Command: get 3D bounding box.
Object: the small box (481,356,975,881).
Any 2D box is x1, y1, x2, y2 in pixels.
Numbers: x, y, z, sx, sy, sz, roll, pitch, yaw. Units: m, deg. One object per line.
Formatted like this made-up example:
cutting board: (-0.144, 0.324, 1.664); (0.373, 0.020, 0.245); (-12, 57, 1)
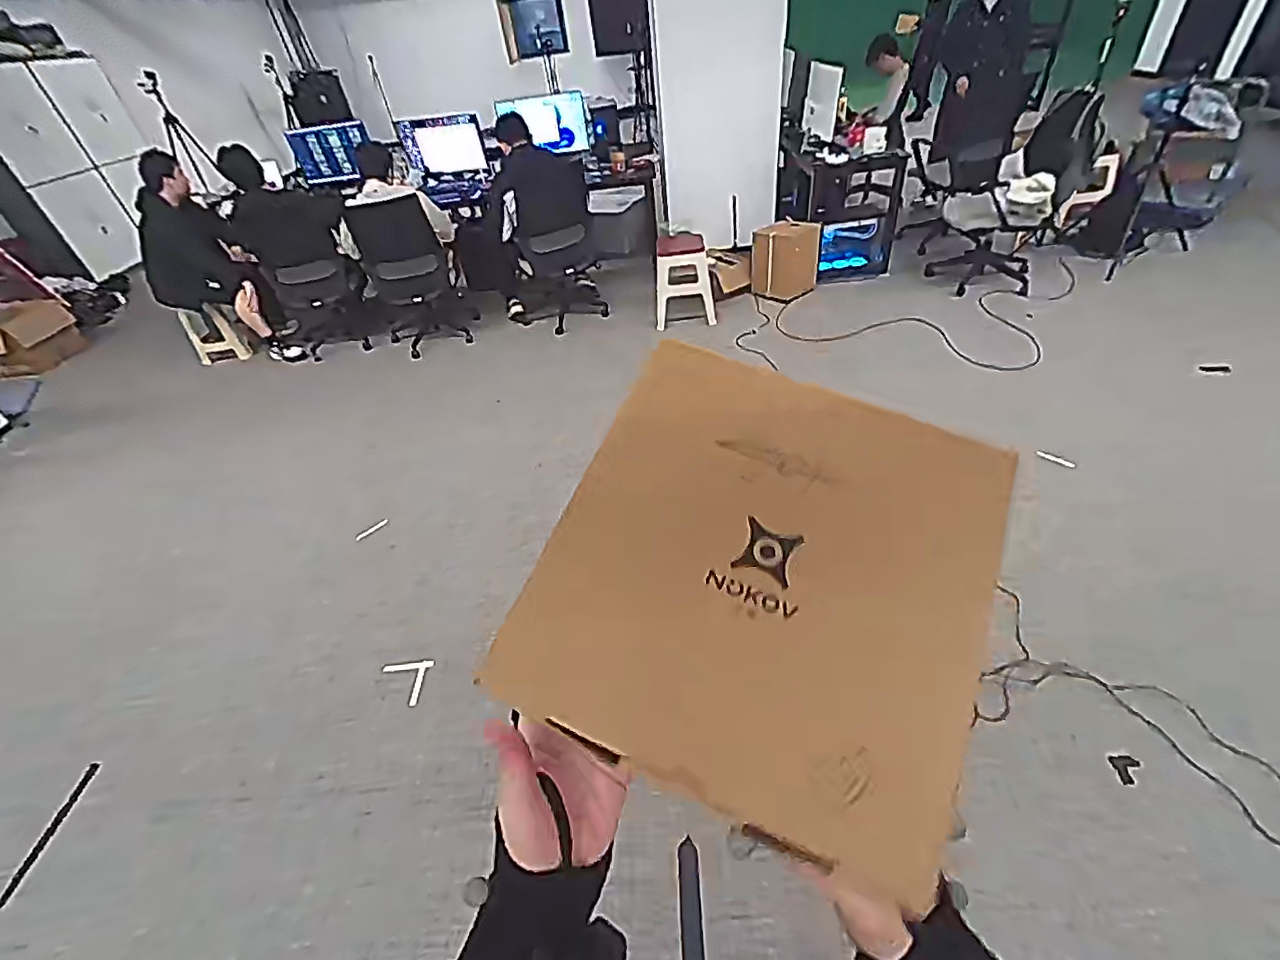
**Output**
small box: (0.047, 0.069, 0.297); (0.168, 0.176, 0.179); (19, 66, 10)
